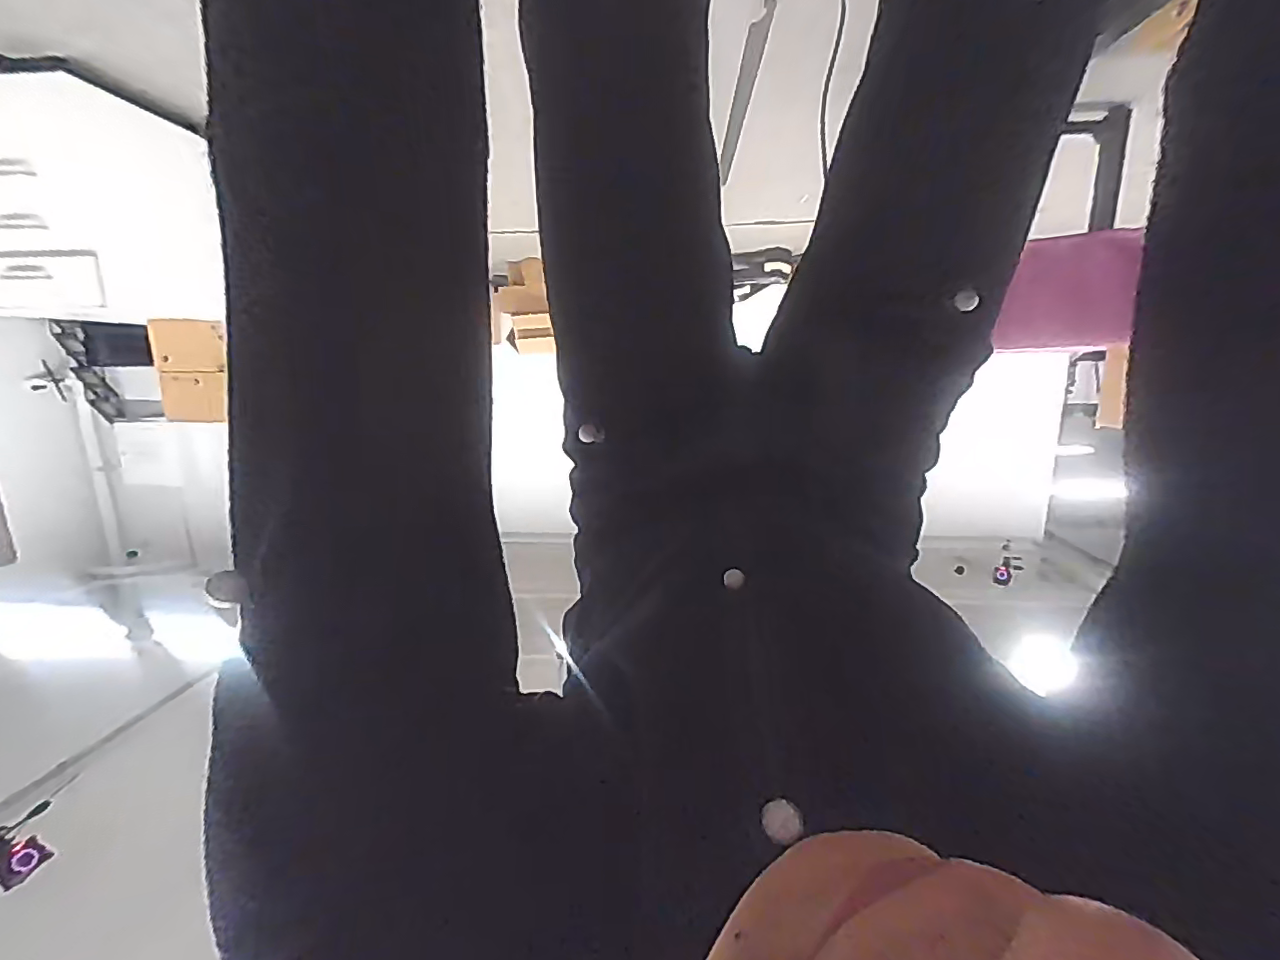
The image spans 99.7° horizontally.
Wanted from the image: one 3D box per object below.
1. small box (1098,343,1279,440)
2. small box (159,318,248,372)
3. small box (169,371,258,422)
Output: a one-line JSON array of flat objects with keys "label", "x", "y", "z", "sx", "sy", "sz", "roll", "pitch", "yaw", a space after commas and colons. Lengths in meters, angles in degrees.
[{"label": "small box", "x": 1.042, "y": -0.175, "z": 1.035, "sx": 0.179, "sy": 0.176, "sz": 0.168, "roll": 0, "pitch": -168, "yaw": 4}, {"label": "small box", "x": -1.486, "y": -0.456, "z": 1.840, "sx": 0.179, "sy": 0.176, "sz": 0.168, "roll": 1, "pitch": -167, "yaw": 5}, {"label": "small box", "x": -1.480, "y": -0.295, "z": 1.878, "sx": 0.168, "sy": 0.176, "sz": 0.179, "roll": 1, "pitch": -167, "yaw": 4}]
